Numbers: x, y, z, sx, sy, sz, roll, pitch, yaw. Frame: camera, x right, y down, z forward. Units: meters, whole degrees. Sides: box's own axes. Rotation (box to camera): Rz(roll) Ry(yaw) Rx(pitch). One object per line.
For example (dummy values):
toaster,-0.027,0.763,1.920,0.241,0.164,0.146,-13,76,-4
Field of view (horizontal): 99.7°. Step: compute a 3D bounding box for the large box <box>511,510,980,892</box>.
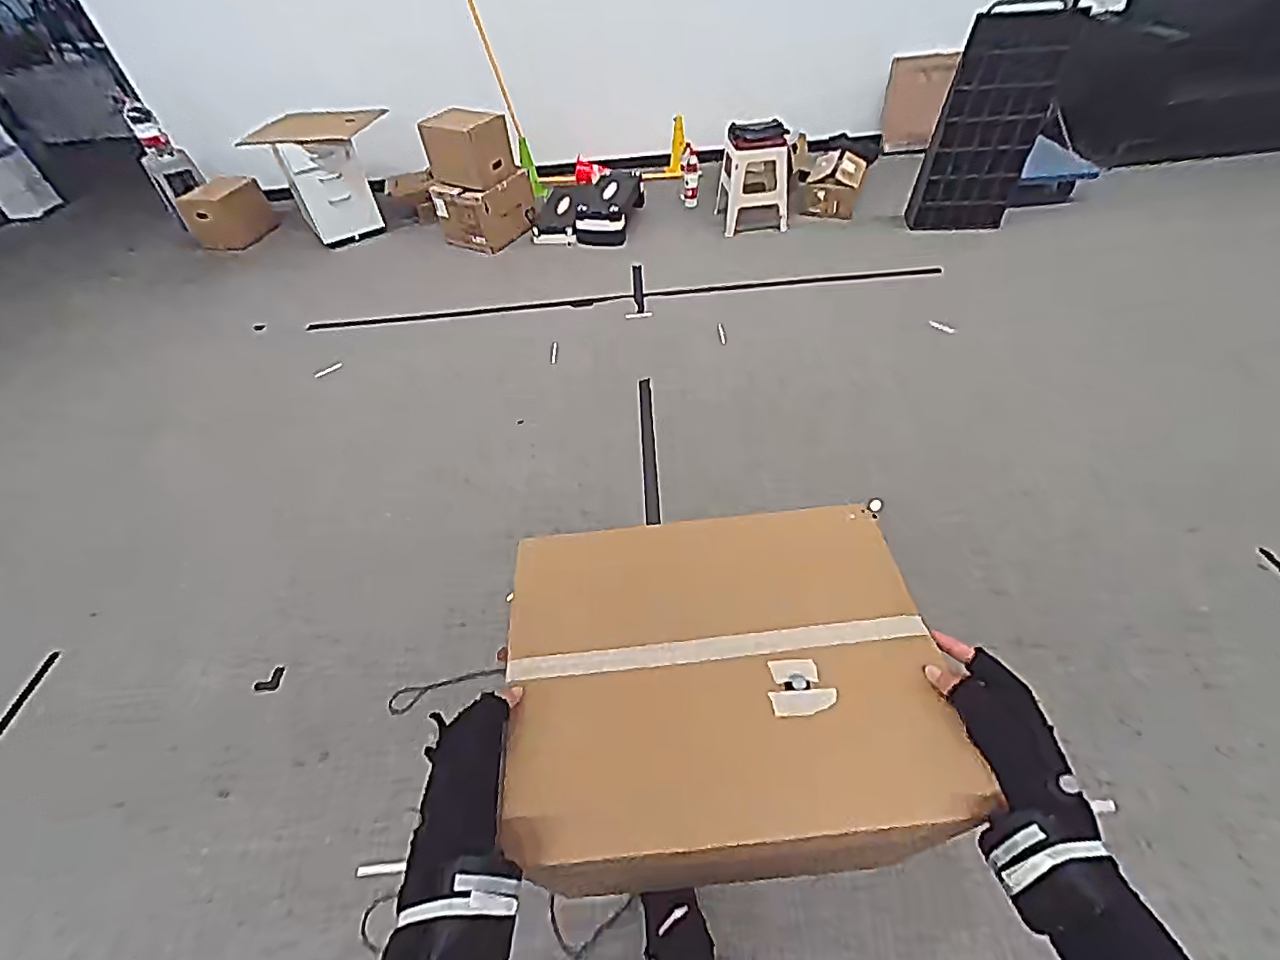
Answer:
large box,0.083,0.270,0.653,0.408,0.320,0.320,-6,49,0
